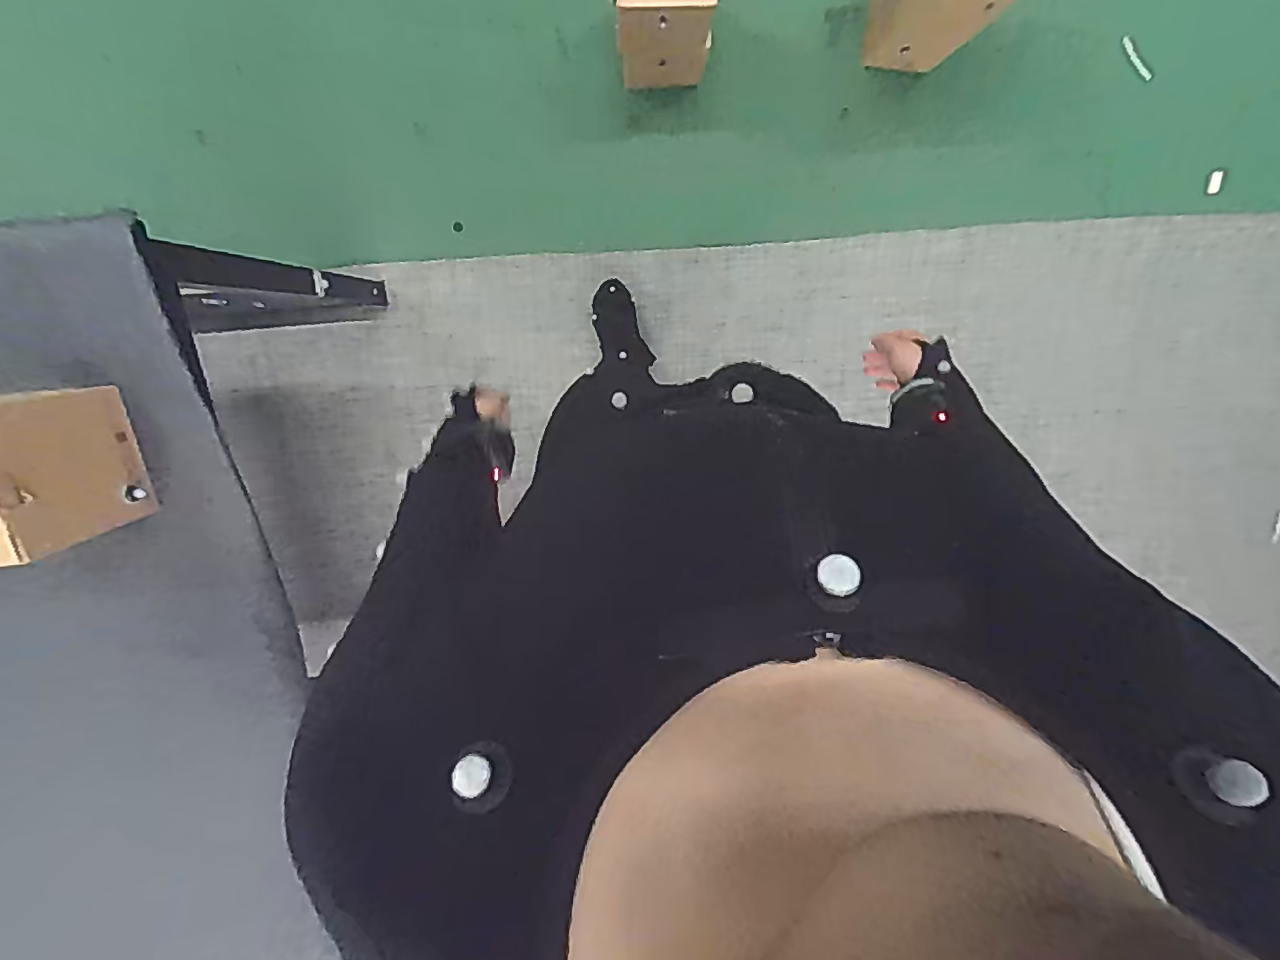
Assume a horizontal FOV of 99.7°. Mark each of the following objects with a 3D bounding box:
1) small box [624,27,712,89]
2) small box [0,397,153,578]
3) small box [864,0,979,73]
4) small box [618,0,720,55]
[{"bbox_3d":[0.050,-0.954,1.142,0.179,0.176,0.168,-5,107,-1],"label":"small box"},{"bbox_3d":[-0.711,0.002,0.611,0.179,0.176,0.168,-4,107,2],"label":"small box"},{"bbox_3d":[0.601,-1.010,1.157,0.168,0.176,0.179,3,105,-4],"label":"small box"},{"bbox_3d":[0.045,-0.909,0.985,0.179,0.176,0.168,-3,107,-2],"label":"small box"}]
